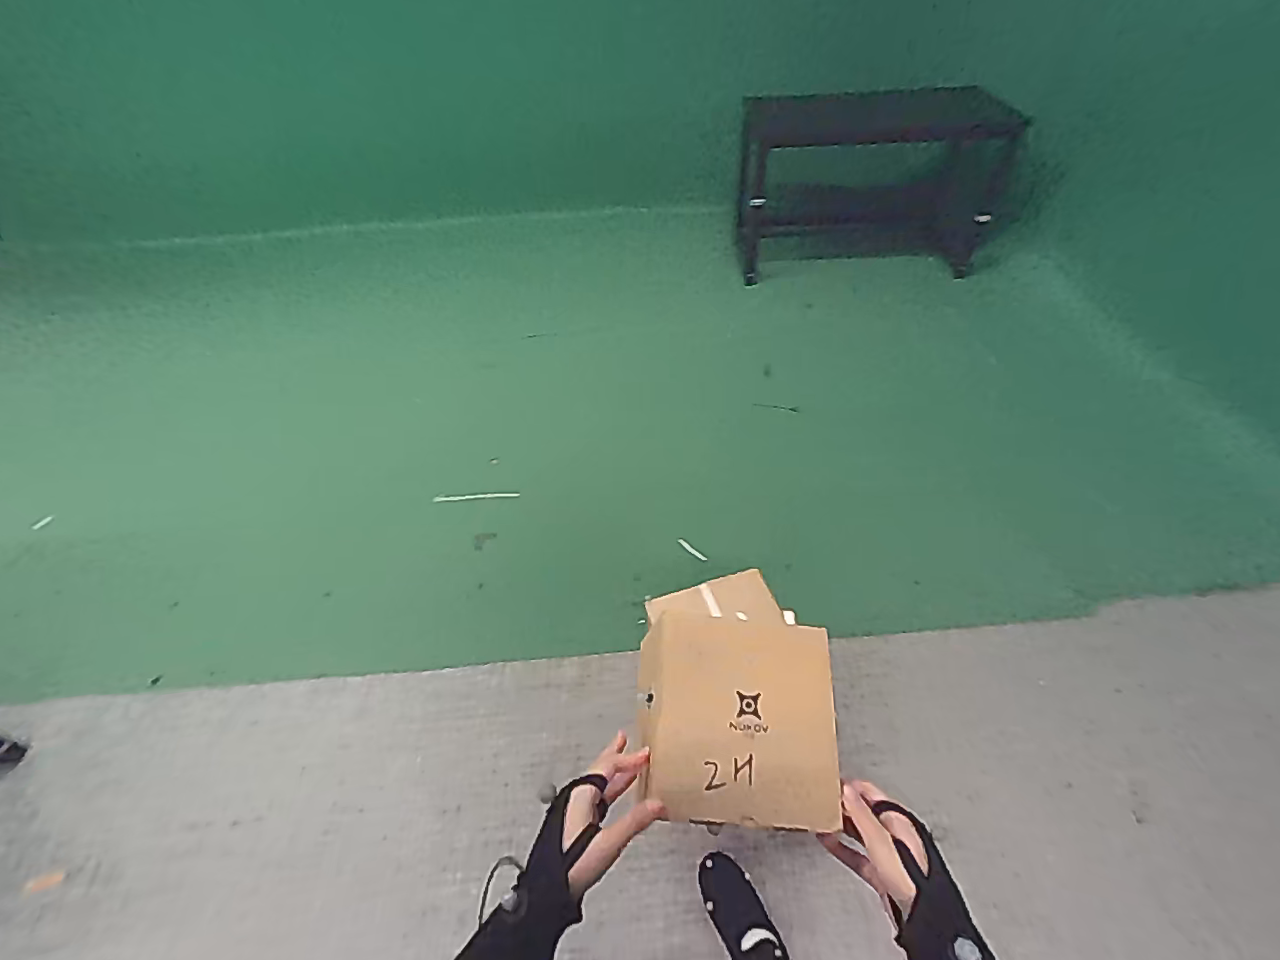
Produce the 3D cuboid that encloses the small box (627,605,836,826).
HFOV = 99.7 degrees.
[{"bbox_3d":[0.081,0.245,0.561,0.168,0.176,0.179,7,61,-5],"label":"small box"}]

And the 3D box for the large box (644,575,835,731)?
[{"bbox_3d":[0.221,0.520,1.356,0.320,0.320,0.408,-14,47,-10],"label":"large box"}]
